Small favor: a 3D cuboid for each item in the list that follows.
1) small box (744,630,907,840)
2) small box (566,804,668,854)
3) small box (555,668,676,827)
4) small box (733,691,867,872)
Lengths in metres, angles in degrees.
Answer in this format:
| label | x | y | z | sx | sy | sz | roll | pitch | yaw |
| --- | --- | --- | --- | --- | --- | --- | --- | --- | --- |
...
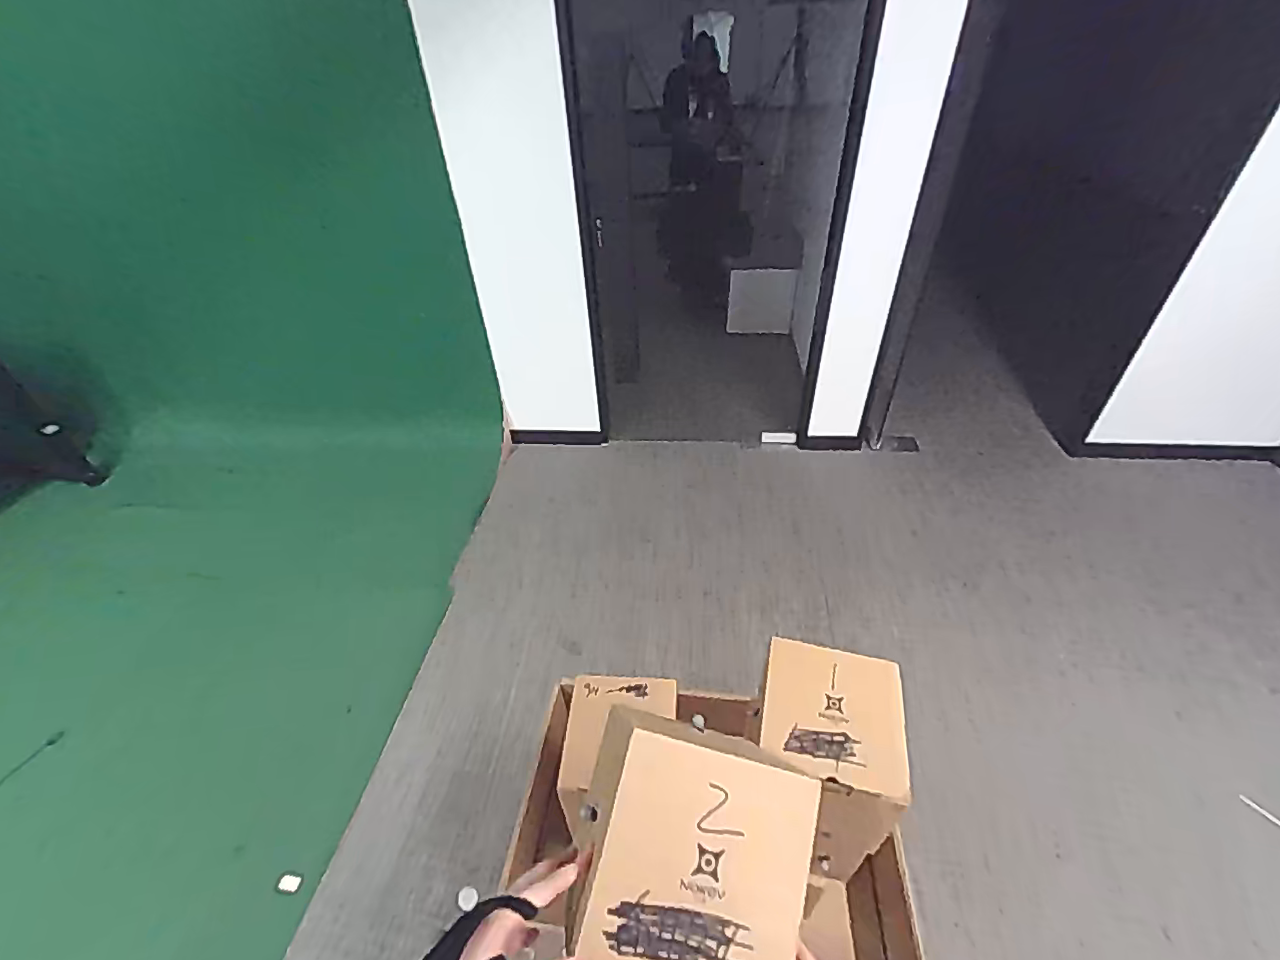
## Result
| label | x | y | z | sx | sy | sz | roll | pitch | yaw |
| --- | --- | --- | --- | --- | --- | --- | --- | --- | --- |
| small box | 0.233 | 0.330 | 0.703 | 0.168 | 0.176 | 0.179 | 10 | 41 | 13 |
| small box | -0.029 | 0.539 | 0.972 | 0.168 | 0.176 | 0.179 | 1 | 40 | 5 |
| small box | -0.027 | 0.424 | 0.855 | 0.168 | 0.176 | 0.179 | 2 | 41 | 4 |
| small box | 0.234 | 0.453 | 0.812 | 0.168 | 0.176 | 0.179 | 8 | 41 | 11 |
